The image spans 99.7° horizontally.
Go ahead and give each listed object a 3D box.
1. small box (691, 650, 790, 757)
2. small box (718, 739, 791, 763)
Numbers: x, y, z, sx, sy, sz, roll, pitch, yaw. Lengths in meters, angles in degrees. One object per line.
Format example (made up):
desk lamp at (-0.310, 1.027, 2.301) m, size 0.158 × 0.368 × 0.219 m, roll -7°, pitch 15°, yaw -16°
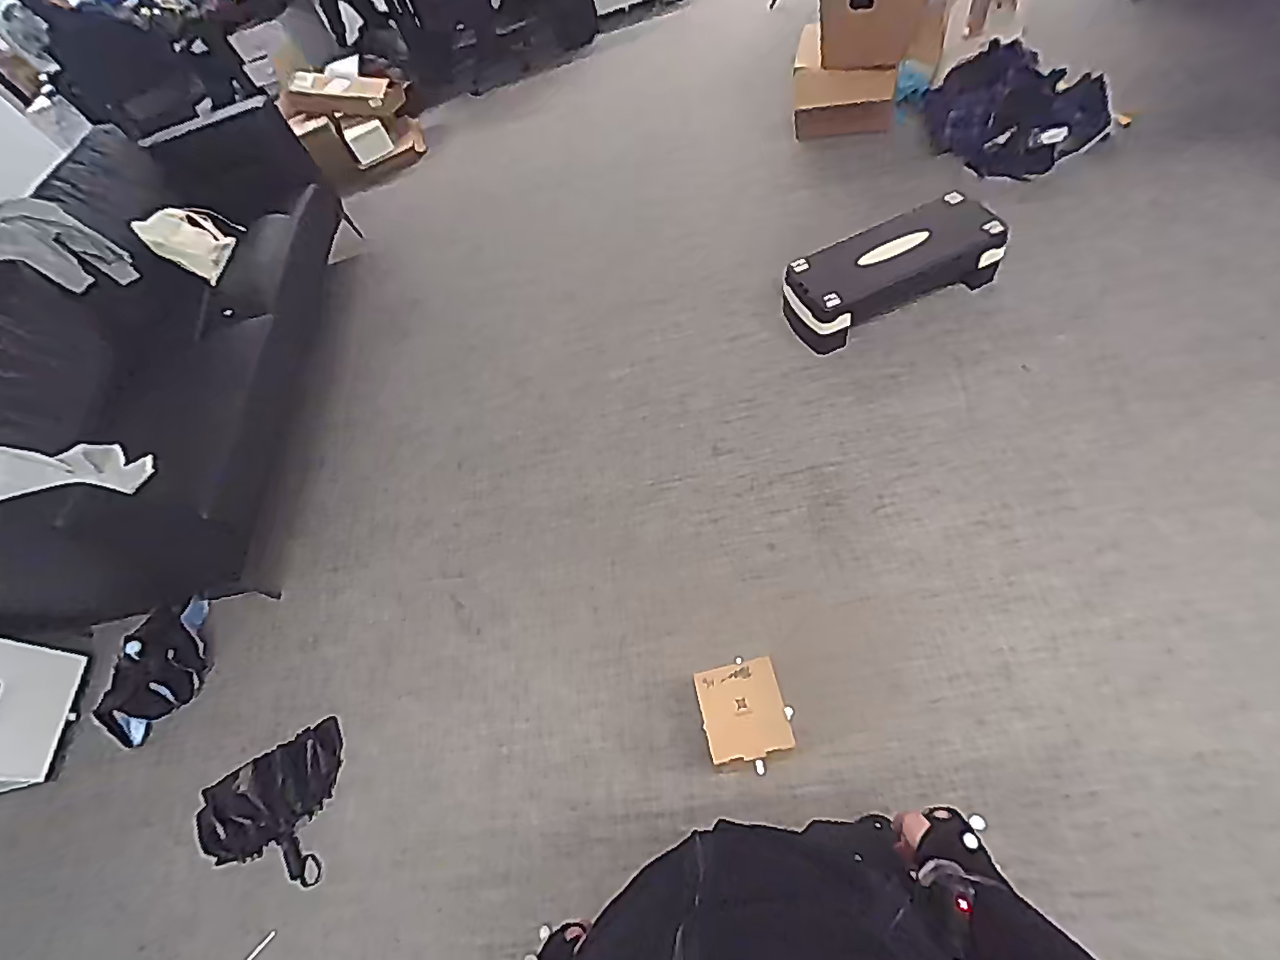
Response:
small box at (0.218, 0.482, 1.157) m, size 0.168 × 0.176 × 0.179 m, roll -16°, pitch 59°, yaw 7°
small box at (0.253, 0.563, 1.294) m, size 0.168 × 0.176 × 0.179 m, roll -17°, pitch 59°, yaw 6°
